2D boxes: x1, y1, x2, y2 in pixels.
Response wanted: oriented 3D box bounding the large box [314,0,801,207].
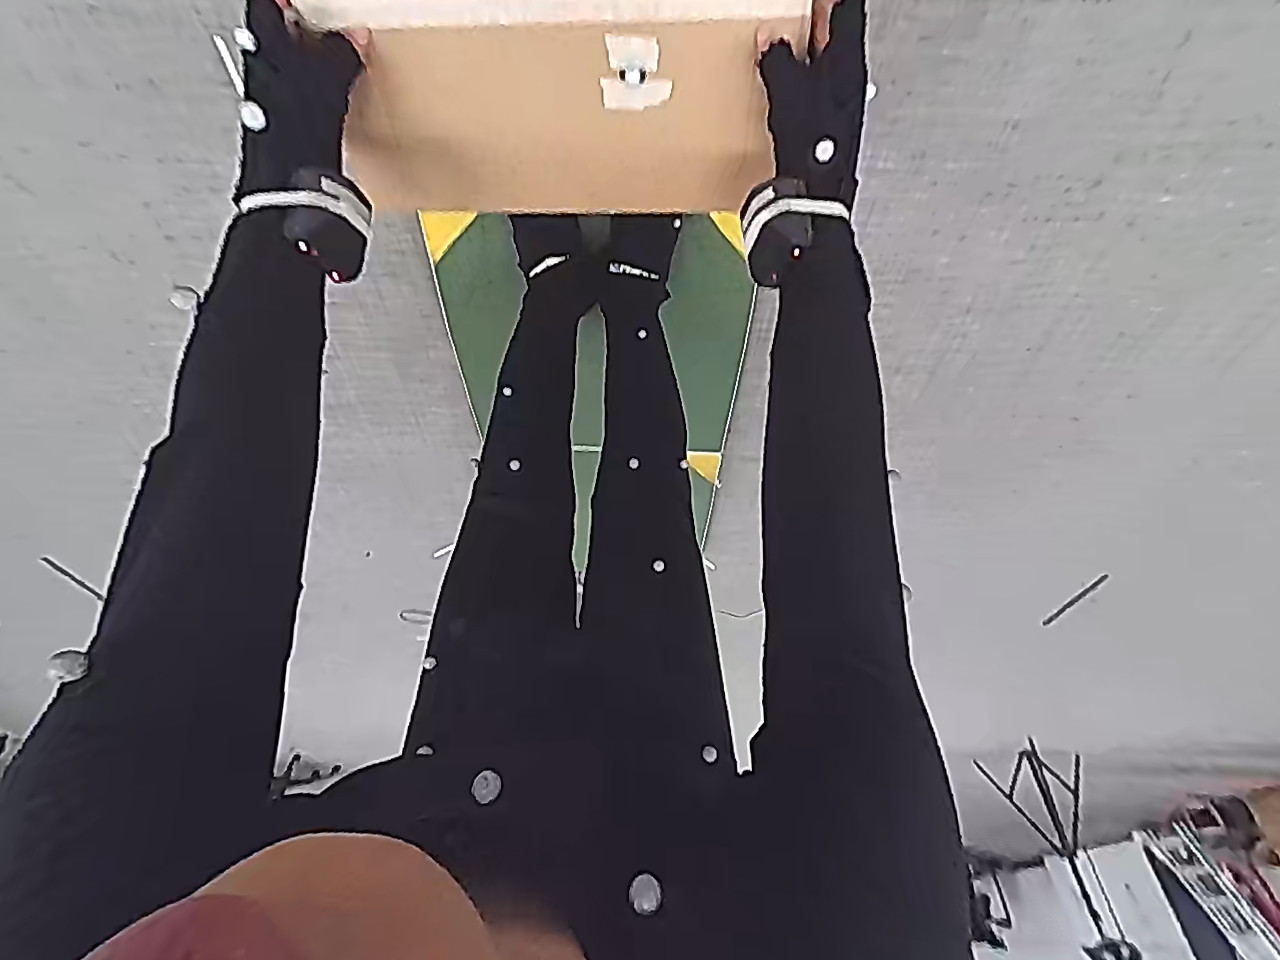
[{"bbox_3d":[-0.066,-0.494,0.538,0.408,0.320,0.320,0,137,2],"label":"large box"}]
